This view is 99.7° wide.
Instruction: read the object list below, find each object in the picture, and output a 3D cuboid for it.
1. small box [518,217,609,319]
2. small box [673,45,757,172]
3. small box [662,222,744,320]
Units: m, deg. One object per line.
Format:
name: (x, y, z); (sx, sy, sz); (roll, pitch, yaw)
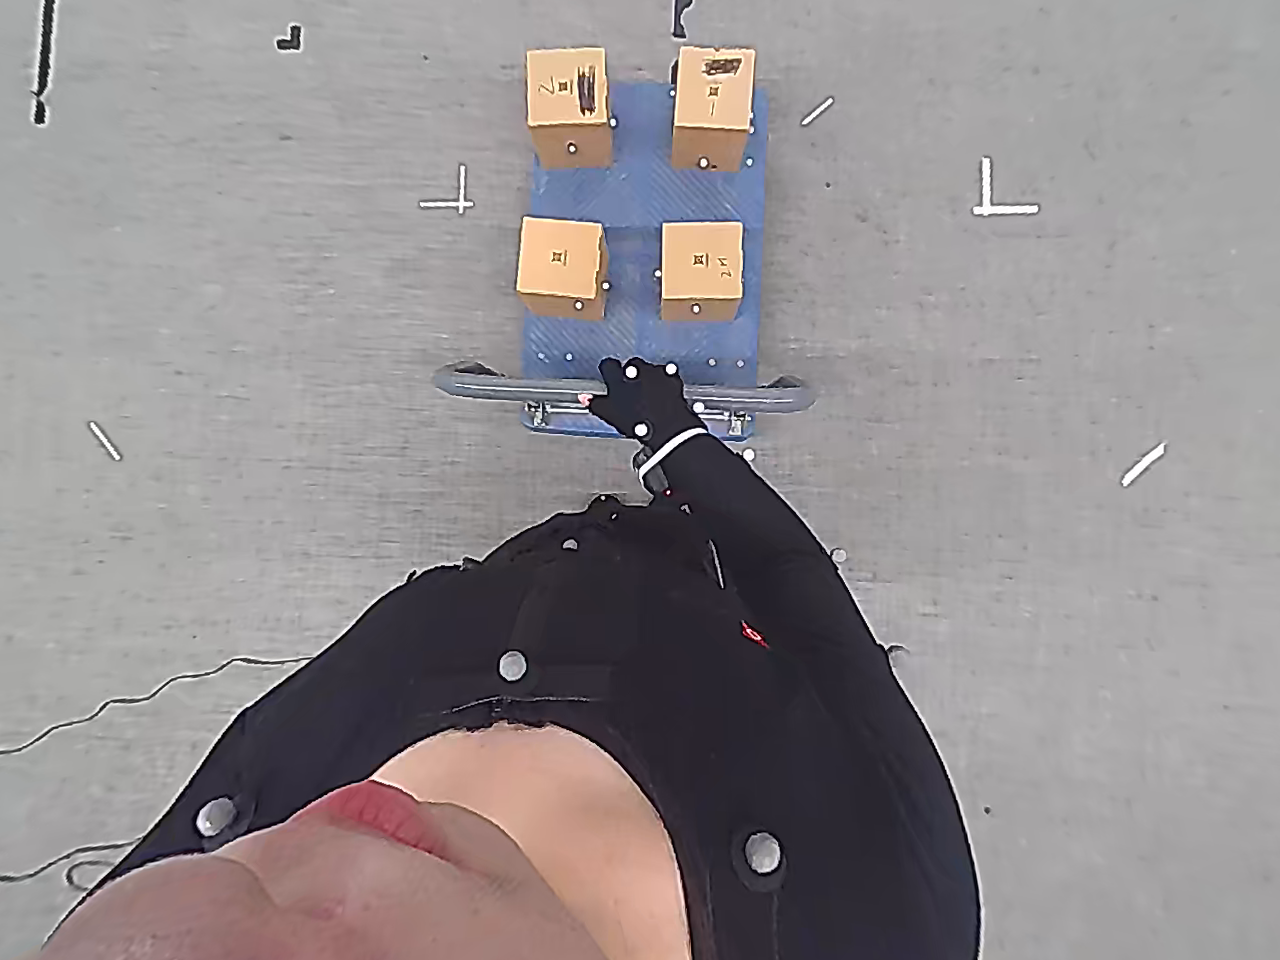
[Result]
small box: (-0.170, -0.483, 1.252); (0.179, 0.176, 0.168); (5, 89, 0)
small box: (0.165, -0.846, 1.242); (0.168, 0.176, 0.179); (4, 91, 2)
small box: (0.139, -0.472, 1.241); (0.179, 0.176, 0.168); (1, 90, 2)
